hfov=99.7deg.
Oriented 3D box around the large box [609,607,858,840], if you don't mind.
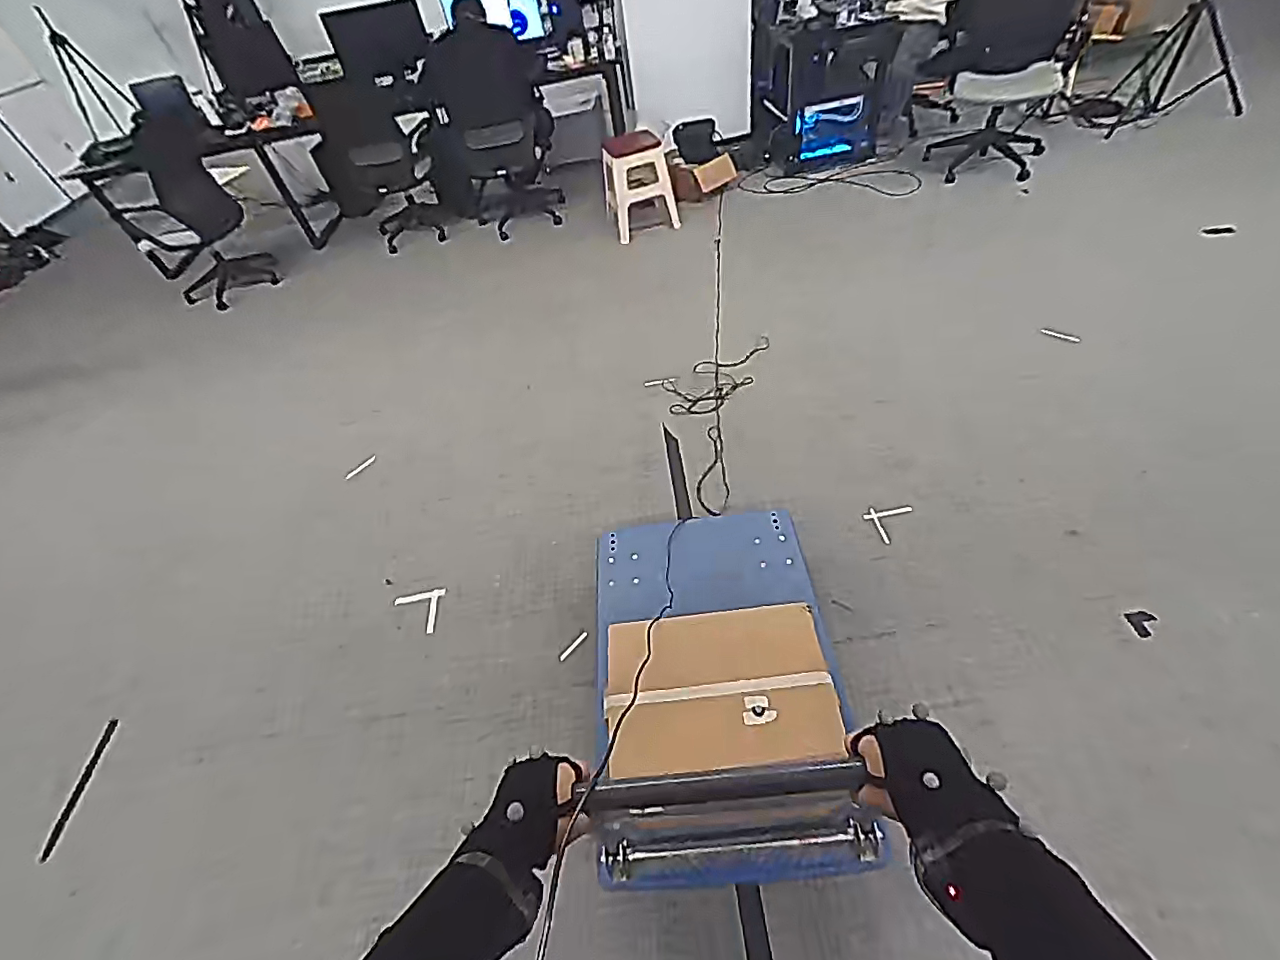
[{"bbox_3d":[0.162,0.488,1.074,0.408,0.320,0.320,-8,48,4],"label":"large box"}]
